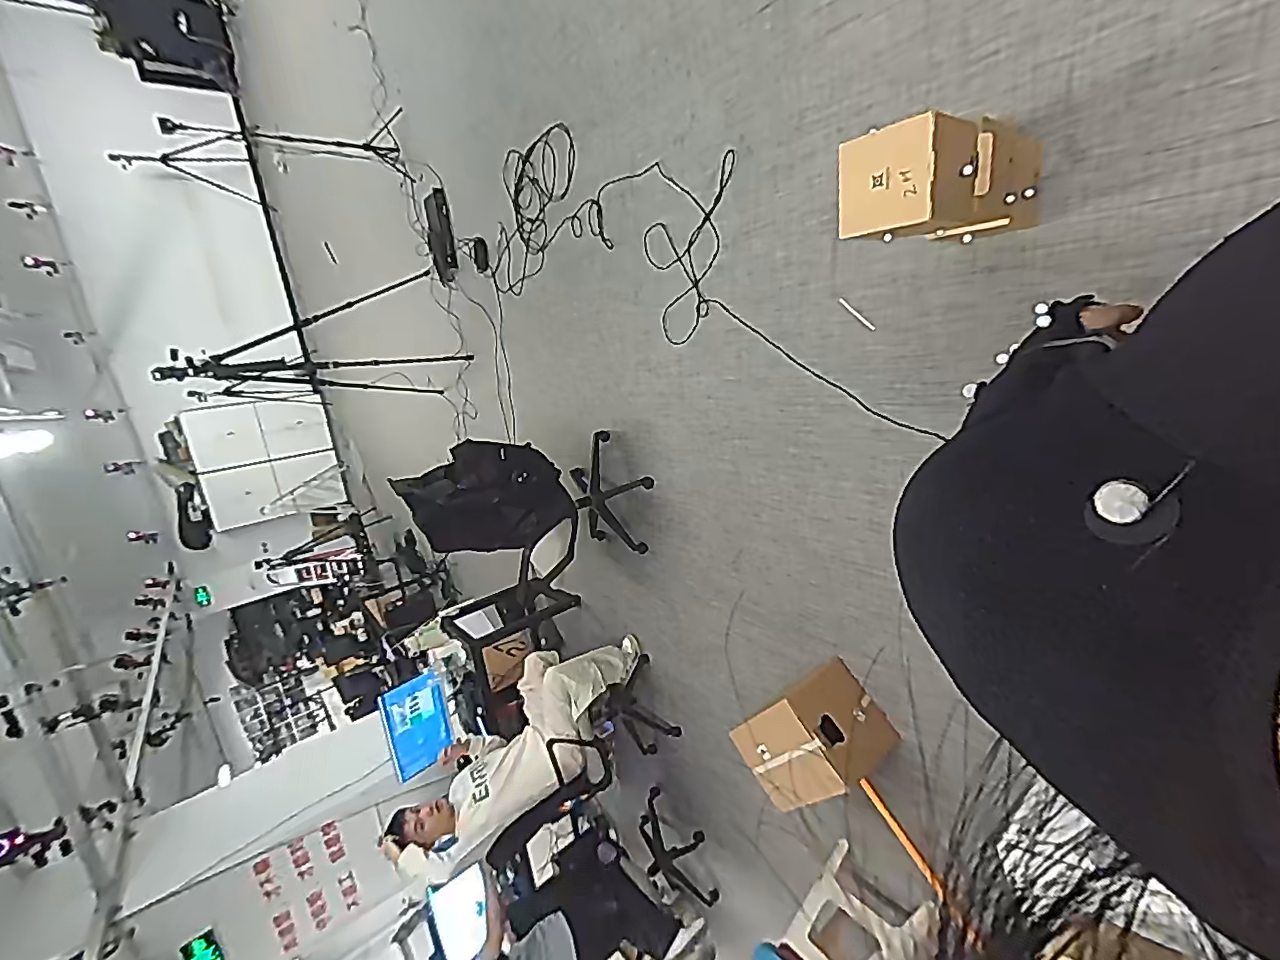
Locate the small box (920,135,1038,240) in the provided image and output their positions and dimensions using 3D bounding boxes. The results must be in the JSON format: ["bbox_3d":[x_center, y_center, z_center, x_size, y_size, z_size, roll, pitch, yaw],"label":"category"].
[{"bbox_3d":[0.747,-0.635,1.192,0.179,0.176,0.168,13,114,50],"label":"small box"}]

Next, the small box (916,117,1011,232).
[{"bbox_3d":[0.619,-0.606,1.093,0.179,0.176,0.168,14,115,51],"label":"small box"}]

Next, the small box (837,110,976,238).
[{"bbox_3d":[0.490,-0.553,1.004,0.179,0.176,0.168,14,115,50],"label":"small box"}]
